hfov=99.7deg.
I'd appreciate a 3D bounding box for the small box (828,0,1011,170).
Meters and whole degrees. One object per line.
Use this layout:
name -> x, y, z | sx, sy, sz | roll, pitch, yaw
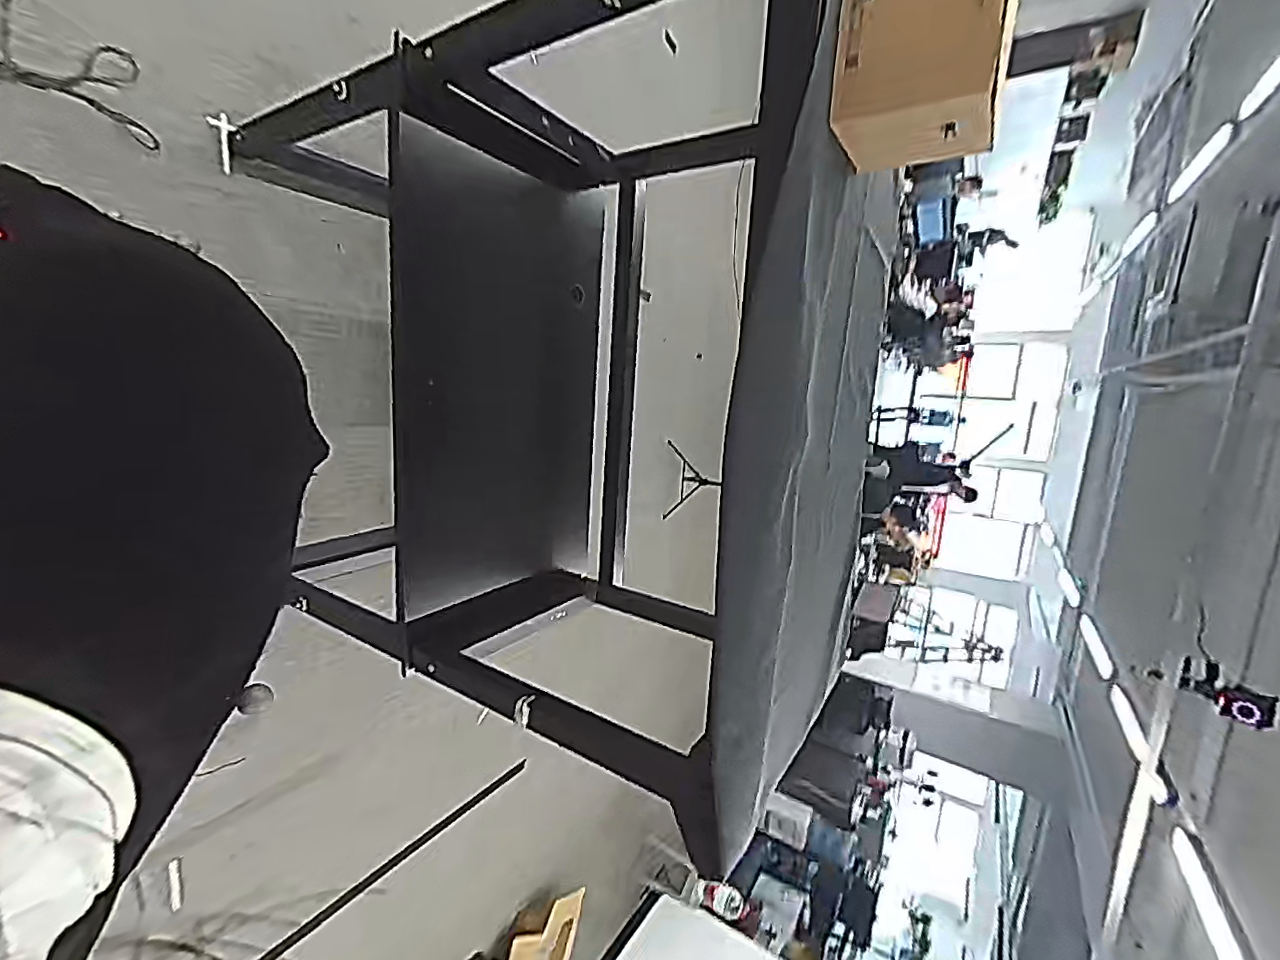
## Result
small box -> 0.336, -0.497, 0.654 | 0.179, 0.176, 0.168 | -15, 111, -57
